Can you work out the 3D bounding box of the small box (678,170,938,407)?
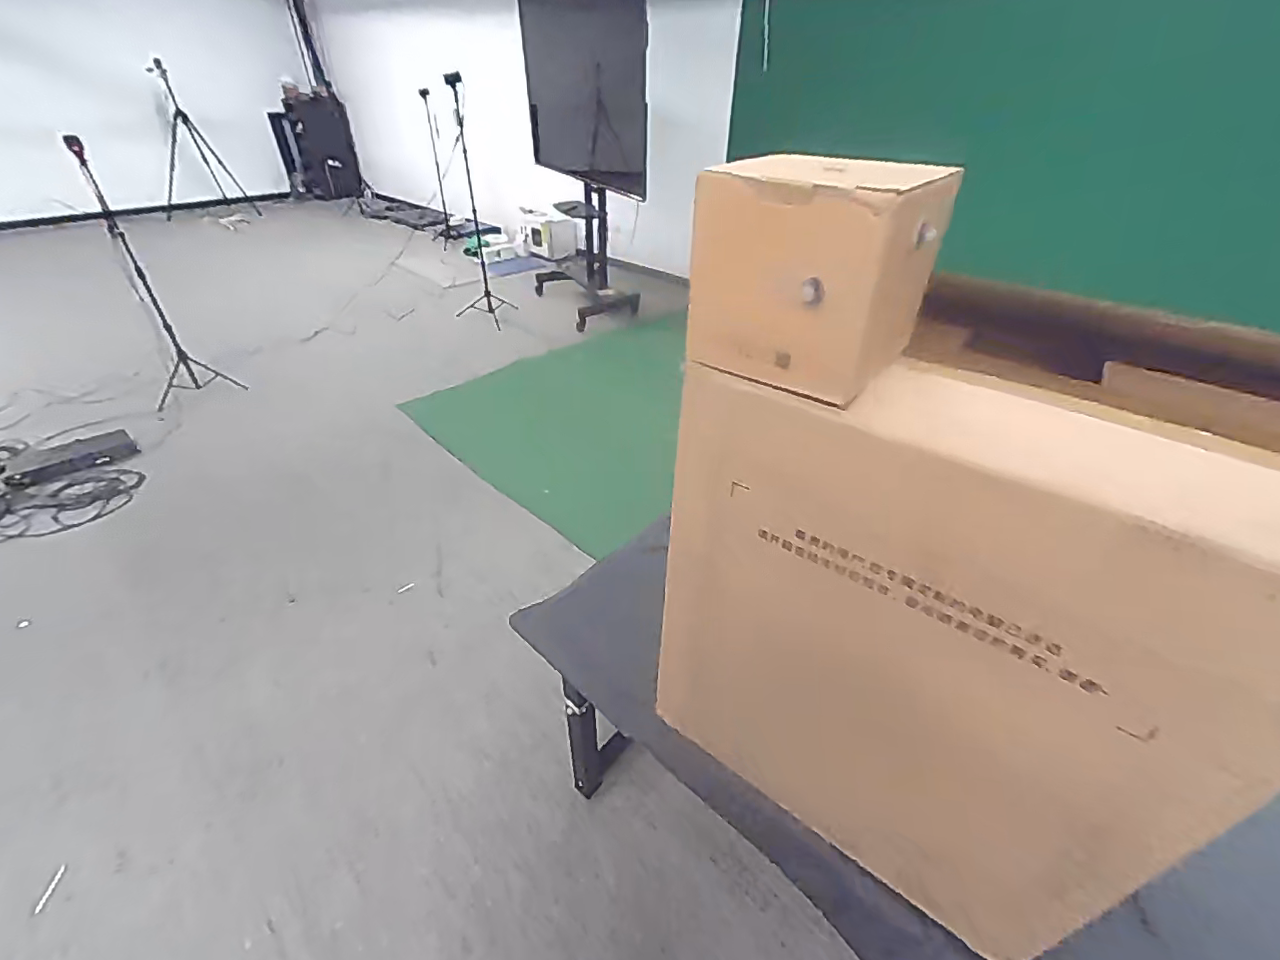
[{"bbox_3d":[0.150,-0.188,0.516,0.168,0.176,0.179,26,42,31],"label":"small box"}]
